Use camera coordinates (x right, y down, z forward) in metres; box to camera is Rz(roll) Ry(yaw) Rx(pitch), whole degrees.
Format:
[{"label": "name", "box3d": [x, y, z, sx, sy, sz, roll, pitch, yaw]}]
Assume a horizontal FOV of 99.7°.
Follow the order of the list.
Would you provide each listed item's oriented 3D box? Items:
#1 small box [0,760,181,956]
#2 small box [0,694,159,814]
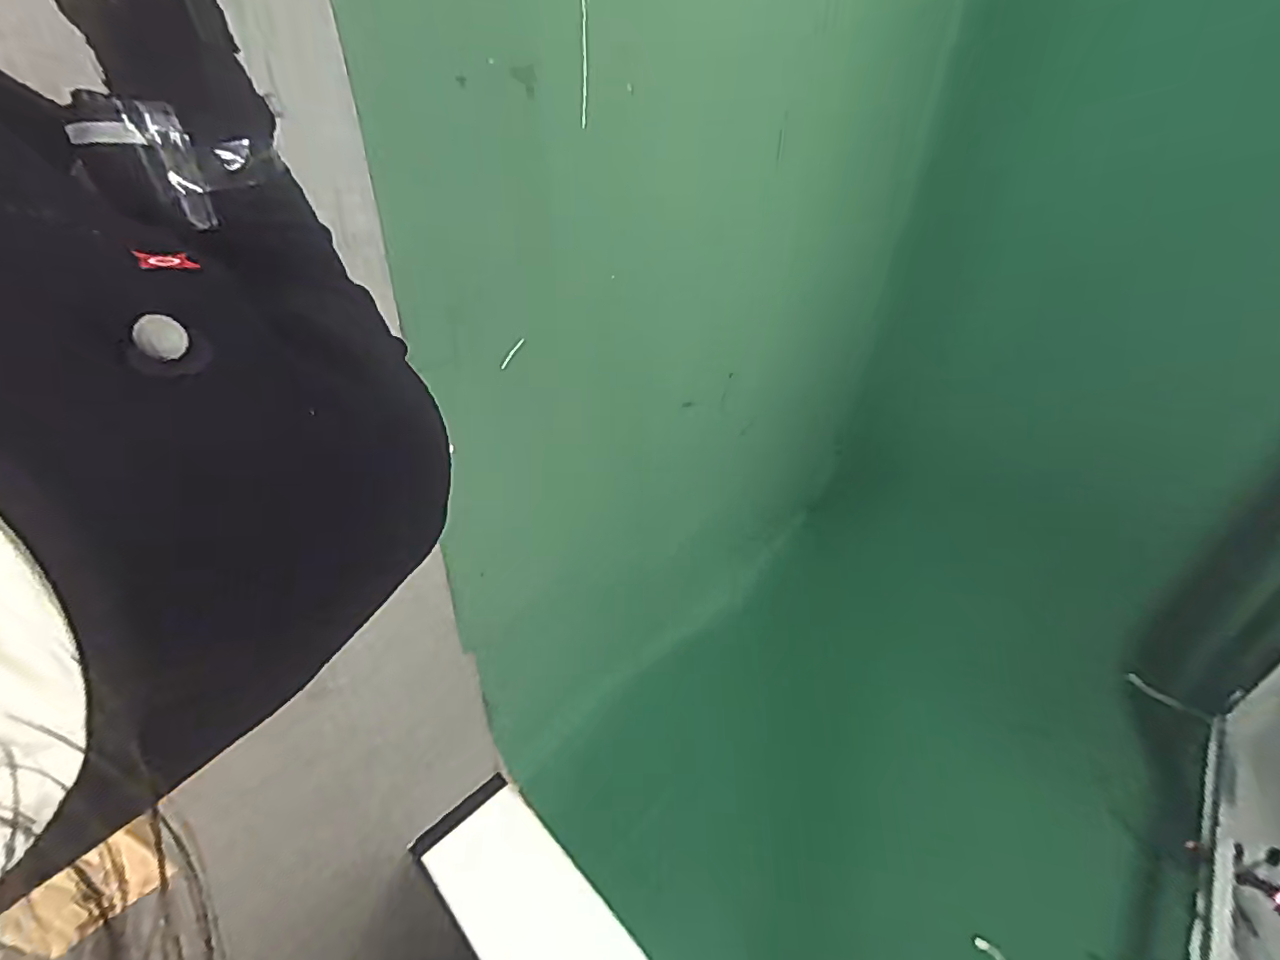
[{"label": "small box", "box3d": [-0.893, 0.590, 0.866, 0.168, 0.176, 0.179, -32, 135, -35]}, {"label": "small box", "box3d": [-1.012, 0.527, 0.960, 0.179, 0.176, 0.168, -30, 134, -37]}]
